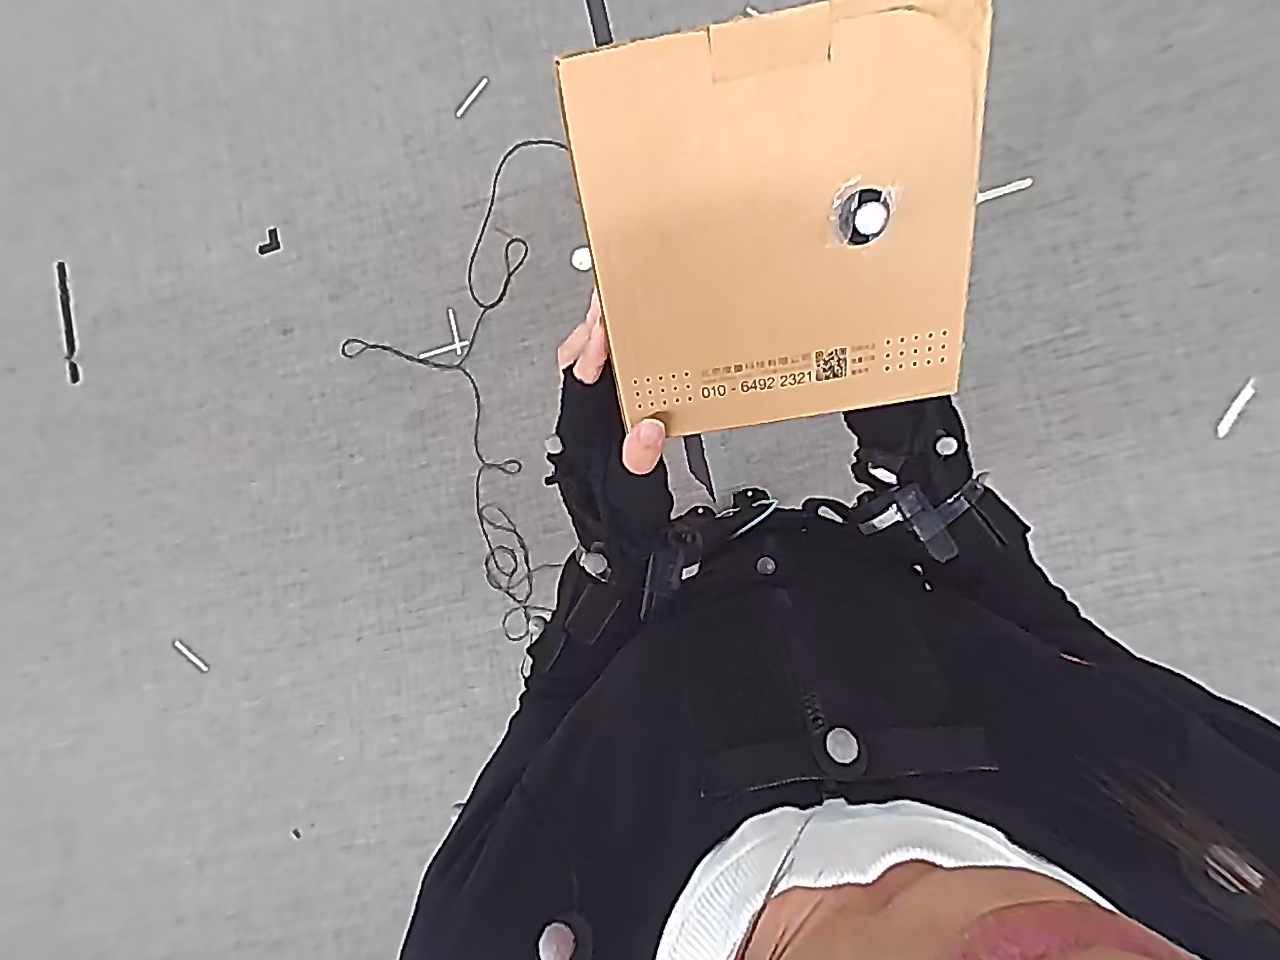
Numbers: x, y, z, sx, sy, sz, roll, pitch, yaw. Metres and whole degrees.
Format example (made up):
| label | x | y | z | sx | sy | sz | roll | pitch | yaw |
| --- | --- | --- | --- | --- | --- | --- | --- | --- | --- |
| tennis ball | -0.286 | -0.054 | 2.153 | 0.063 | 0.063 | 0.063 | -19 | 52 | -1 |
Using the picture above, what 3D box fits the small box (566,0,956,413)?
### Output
| label | x | y | z | sx | sy | sz | roll | pitch | yaw |
| --- | --- | --- | --- | --- | --- | --- | --- | --- | --- |
| small box | 0.065 | -0.146 | 0.331 | 0.168 | 0.179 | 0.176 | -8 | 117 | 6 |
